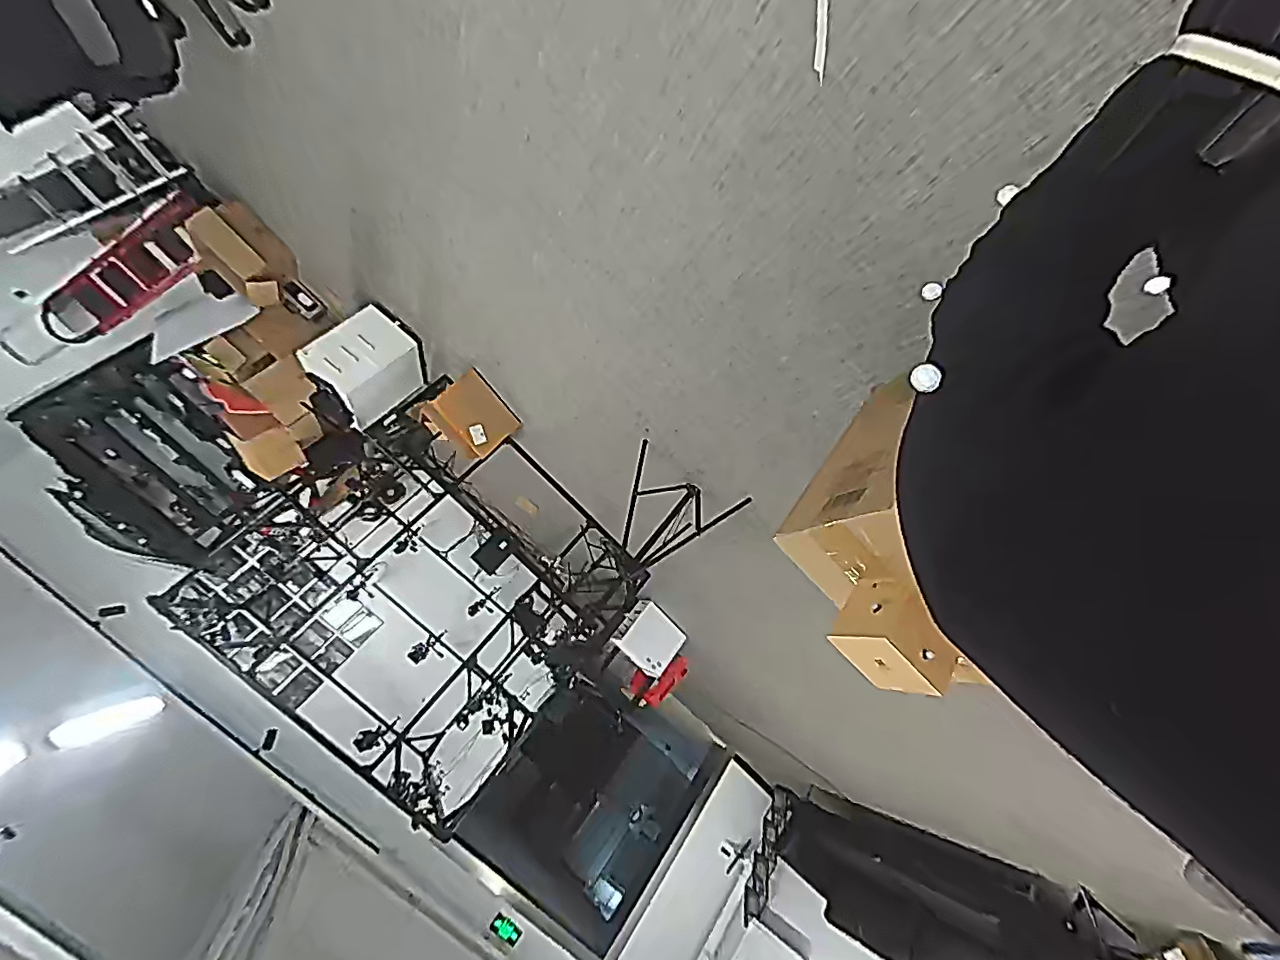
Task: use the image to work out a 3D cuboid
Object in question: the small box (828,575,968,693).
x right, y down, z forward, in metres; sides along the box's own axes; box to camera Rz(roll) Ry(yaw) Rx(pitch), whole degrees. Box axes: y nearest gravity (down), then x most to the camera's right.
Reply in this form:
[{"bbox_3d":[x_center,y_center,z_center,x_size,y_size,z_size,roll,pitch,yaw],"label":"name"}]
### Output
[{"bbox_3d":[0.538,0.313,1.129,0.179,0.176,0.168,44,154,-7],"label":"small box"}]
